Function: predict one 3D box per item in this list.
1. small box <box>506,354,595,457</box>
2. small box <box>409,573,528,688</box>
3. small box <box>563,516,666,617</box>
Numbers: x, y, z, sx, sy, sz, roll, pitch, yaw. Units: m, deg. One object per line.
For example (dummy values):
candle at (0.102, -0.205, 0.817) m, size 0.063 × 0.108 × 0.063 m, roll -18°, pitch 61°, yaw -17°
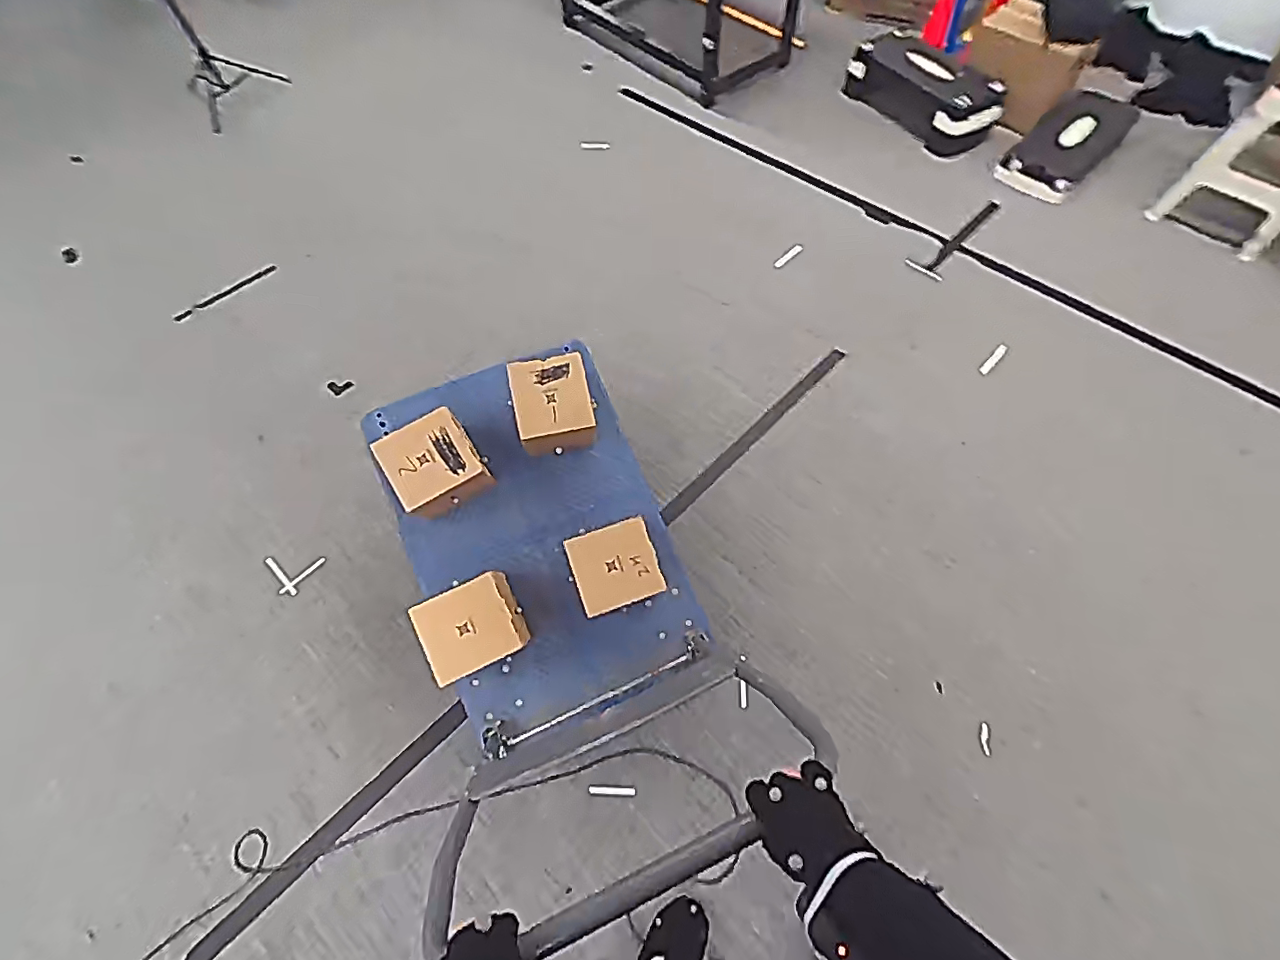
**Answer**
small box at (-0.204, -0.167, 1.246) m, size 0.168 × 0.176 × 0.179 m, roll -12°, pitch 81°, yaw -8°
small box at (-0.350, 0.311, 1.136) m, size 0.179 × 0.176 × 0.168 m, roll -25°, pitch 82°, yaw -12°
small box at (-0.059, 0.192, 1.189) m, size 0.179 × 0.176 × 0.168 m, roll -18°, pitch 82°, yaw -9°
